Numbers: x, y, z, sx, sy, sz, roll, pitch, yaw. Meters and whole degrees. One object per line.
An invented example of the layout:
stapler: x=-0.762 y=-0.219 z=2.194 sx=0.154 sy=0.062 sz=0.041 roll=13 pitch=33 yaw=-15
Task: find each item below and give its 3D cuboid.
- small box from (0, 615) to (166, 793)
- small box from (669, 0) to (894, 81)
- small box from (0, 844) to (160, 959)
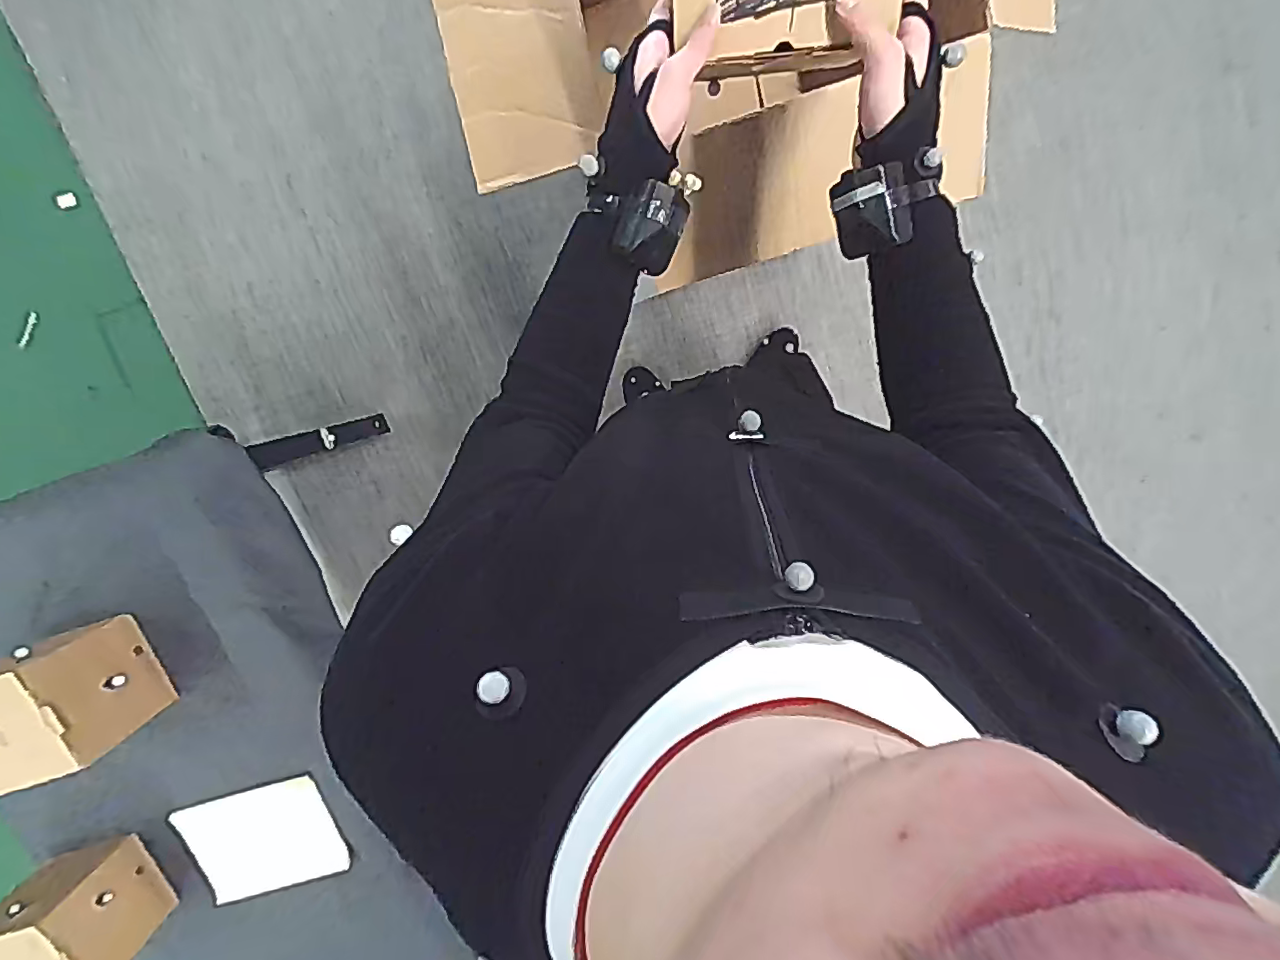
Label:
small box: x=-0.872 y=0.327 z=0.809 sx=0.179 sy=0.176 sz=0.168 roll=-18 pitch=102 yaw=2
small box: x=0.107 y=-0.439 z=0.437 sx=0.168 sy=0.176 sz=0.179 roll=-2 pitch=121 yaw=7
small box: x=-0.952 y=0.745 z=0.888 sx=0.179 sy=0.176 sz=0.168 roll=-19 pitch=102 yaw=4
